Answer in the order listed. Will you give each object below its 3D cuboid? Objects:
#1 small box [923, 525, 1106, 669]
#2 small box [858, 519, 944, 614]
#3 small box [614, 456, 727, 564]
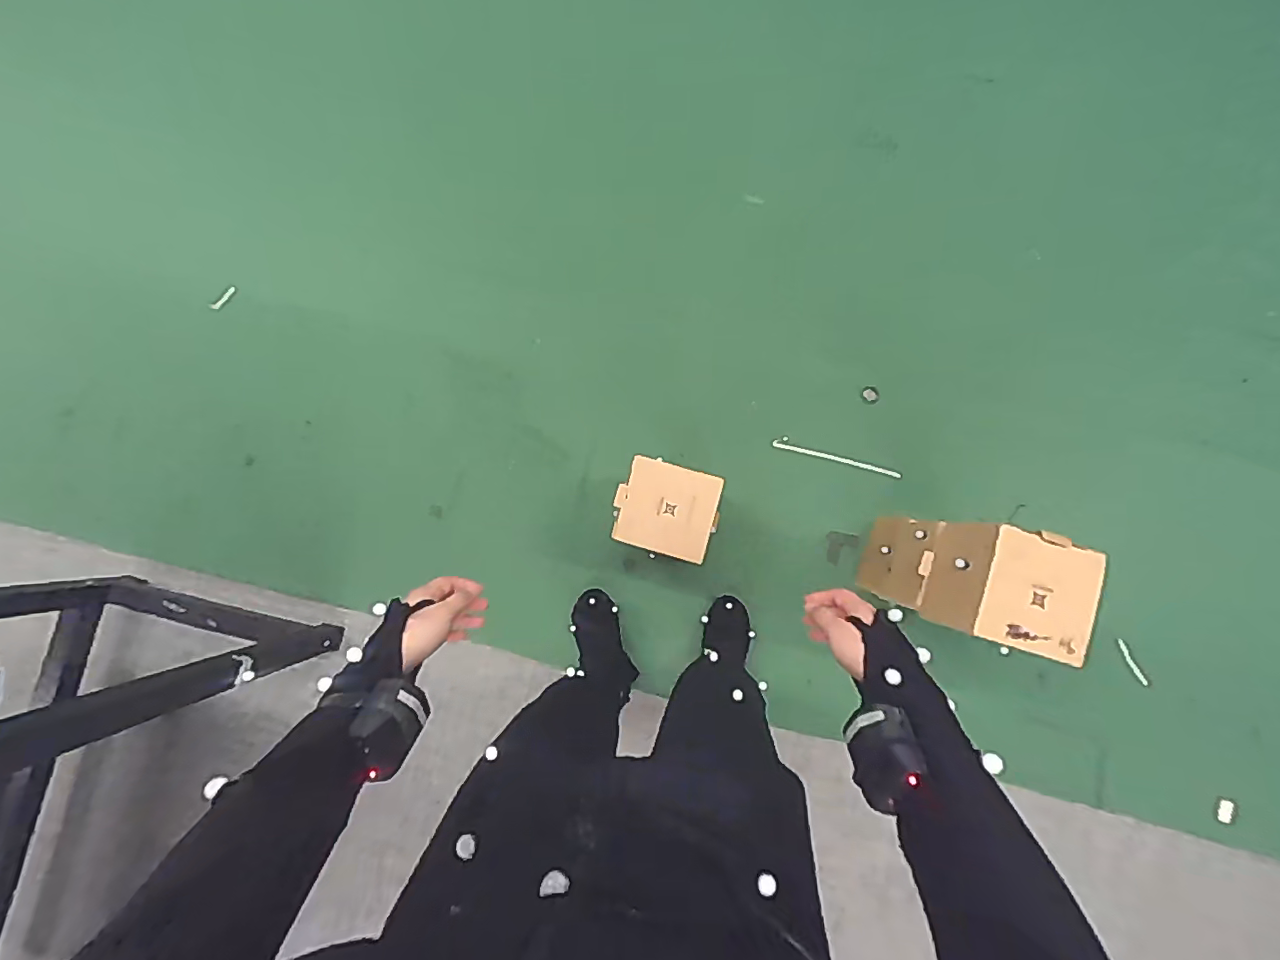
[{"bbox_3d":[0.598,0.180,0.886,0.168,0.176,0.179,18,85,1],"label":"small box"},{"bbox_3d":[0.614,0.199,1.215,0.168,0.176,0.179,22,86,3],"label":"small box"},{"bbox_3d":[0.058,0.062,1.074,0.179,0.176,0.168,16,87,2],"label":"small box"}]
